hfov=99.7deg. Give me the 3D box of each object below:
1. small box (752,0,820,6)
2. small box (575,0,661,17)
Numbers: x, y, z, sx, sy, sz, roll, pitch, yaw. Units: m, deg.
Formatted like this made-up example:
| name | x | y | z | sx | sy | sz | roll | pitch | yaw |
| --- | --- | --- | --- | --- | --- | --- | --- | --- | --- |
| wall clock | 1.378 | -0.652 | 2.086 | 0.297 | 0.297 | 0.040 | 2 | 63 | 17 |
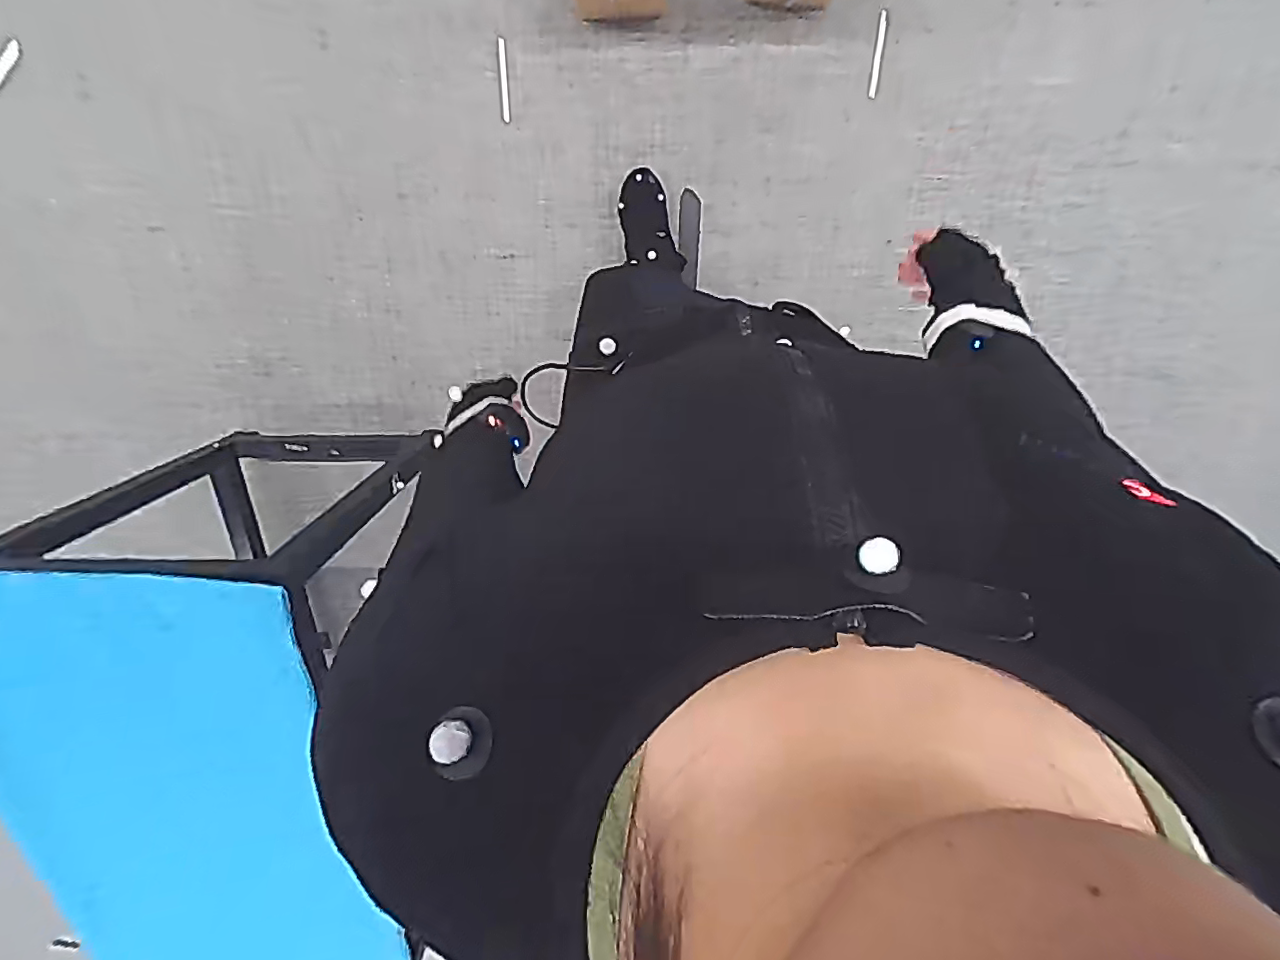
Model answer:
| name | x | y | z | sx | sy | sz | roll | pitch | yaw |
| --- | --- | --- | --- | --- | --- | --- | --- | --- | --- |
| small box | 0.297 | -1.030 | 1.016 | 0.179 | 0.176 | 0.168 | 3 | 113 | -3 |
| small box | -0.047 | -1.012 | 1.023 | 0.179 | 0.176 | 0.168 | -2 | 113 | 0 |
